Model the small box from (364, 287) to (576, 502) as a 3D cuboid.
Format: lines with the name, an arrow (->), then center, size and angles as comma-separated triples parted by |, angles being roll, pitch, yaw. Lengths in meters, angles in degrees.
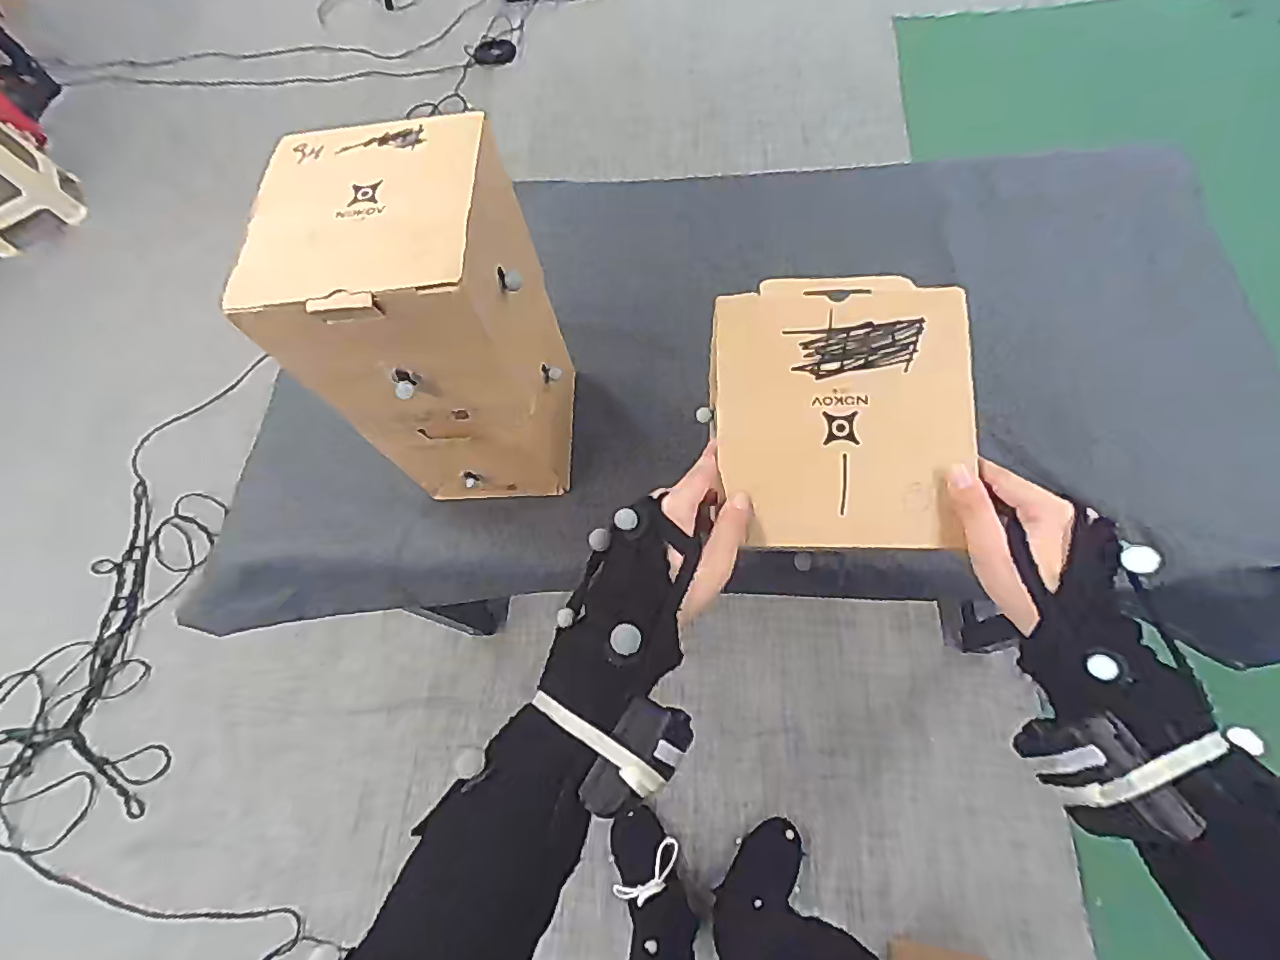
small box -> -0.170, -0.089, 0.606 | 0.168, 0.176, 0.179 | -3, 65, 5

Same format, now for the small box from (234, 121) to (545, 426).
small box -> -0.183, -0.156, 0.457 | 0.168, 0.176, 0.179 | -4, 66, 5

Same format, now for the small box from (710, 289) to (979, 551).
small box -> 0.142, -0.033, 0.439 | 0.168, 0.176, 0.179 | 0, 83, 6

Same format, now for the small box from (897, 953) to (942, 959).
small box -> 0.529, 0.900, 0.866 | 0.179, 0.176, 0.168 | 3, 65, 10
